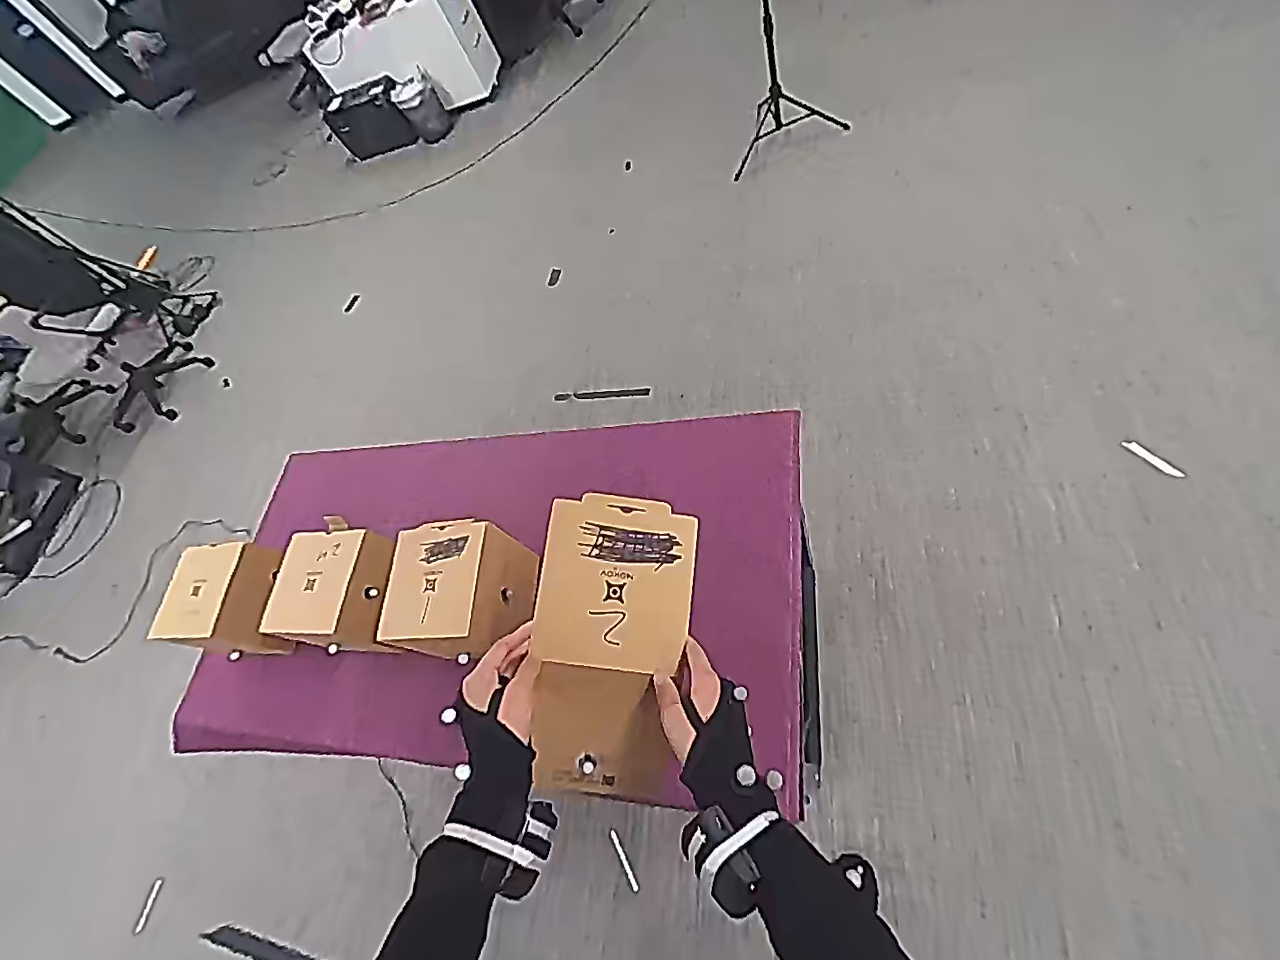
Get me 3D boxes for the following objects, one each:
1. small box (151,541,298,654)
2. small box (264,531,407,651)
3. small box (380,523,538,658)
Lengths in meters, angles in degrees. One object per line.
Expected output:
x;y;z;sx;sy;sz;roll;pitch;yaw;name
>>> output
-0.770;0.232;1.051;0.168;0.176;0.179;-6;61;19;small box
-0.510;0.202;0.966;0.168;0.176;0.179;-4;62;19;small box
-0.282;0.187;0.887;0.168;0.176;0.179;-7;62;18;small box
